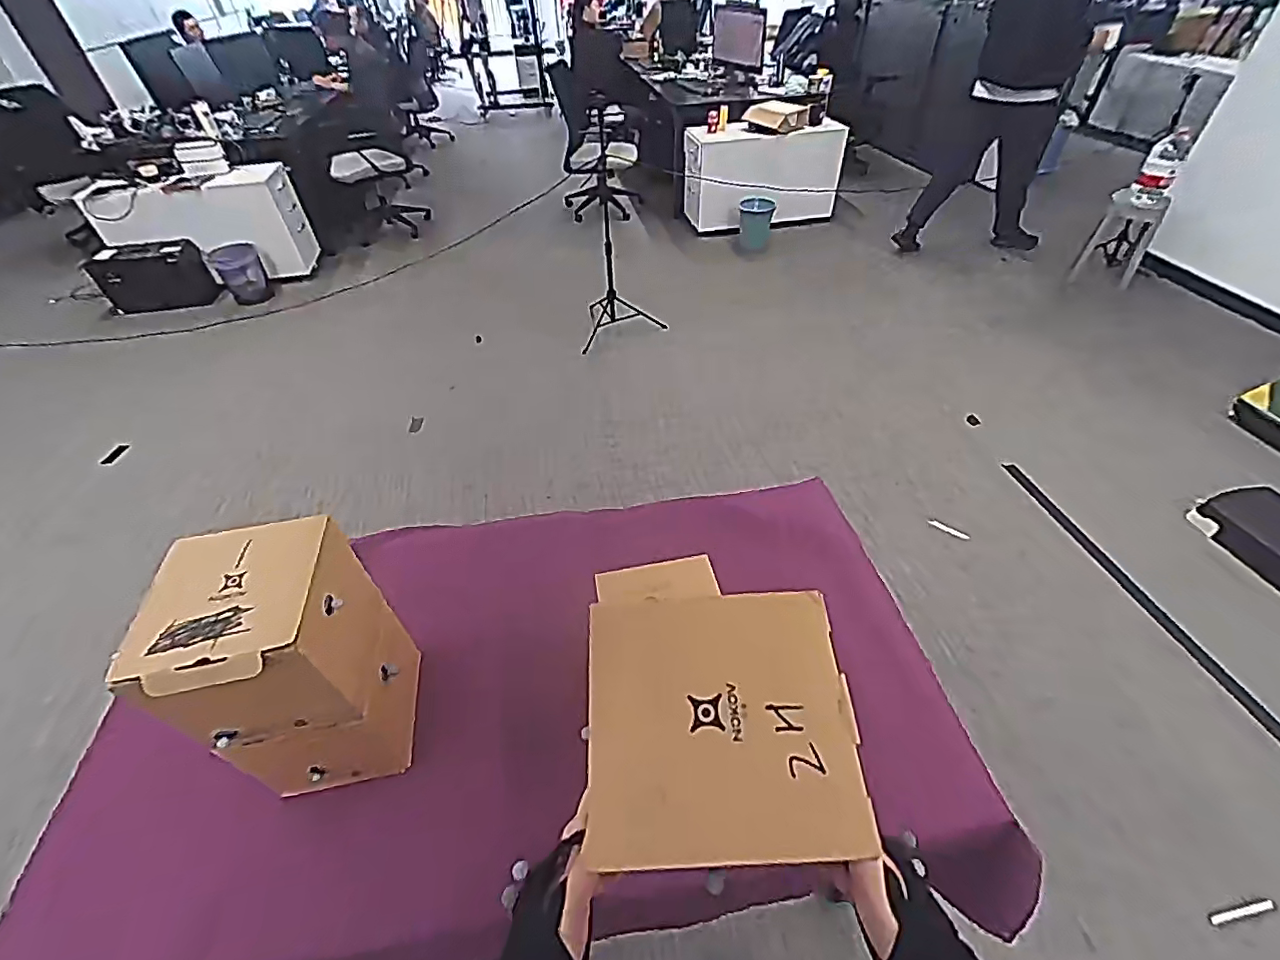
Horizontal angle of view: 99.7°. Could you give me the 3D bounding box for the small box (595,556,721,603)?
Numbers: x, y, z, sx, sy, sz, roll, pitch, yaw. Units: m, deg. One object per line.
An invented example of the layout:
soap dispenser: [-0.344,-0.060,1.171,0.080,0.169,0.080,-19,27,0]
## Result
small box: [0.035,0.236,0.758,0.168,0.176,0.179,-9,45,-6]

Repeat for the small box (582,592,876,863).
small box: [0.054,0.199,0.426,0.179,0.176,0.168,-3,57,1]

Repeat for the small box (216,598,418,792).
small box: [-0.411,0.288,0.728,0.168,0.176,0.179,-9,46,-7]

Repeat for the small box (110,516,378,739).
small box: [-0.416,0.171,0.613,0.168,0.176,0.179,-10,45,-8]
